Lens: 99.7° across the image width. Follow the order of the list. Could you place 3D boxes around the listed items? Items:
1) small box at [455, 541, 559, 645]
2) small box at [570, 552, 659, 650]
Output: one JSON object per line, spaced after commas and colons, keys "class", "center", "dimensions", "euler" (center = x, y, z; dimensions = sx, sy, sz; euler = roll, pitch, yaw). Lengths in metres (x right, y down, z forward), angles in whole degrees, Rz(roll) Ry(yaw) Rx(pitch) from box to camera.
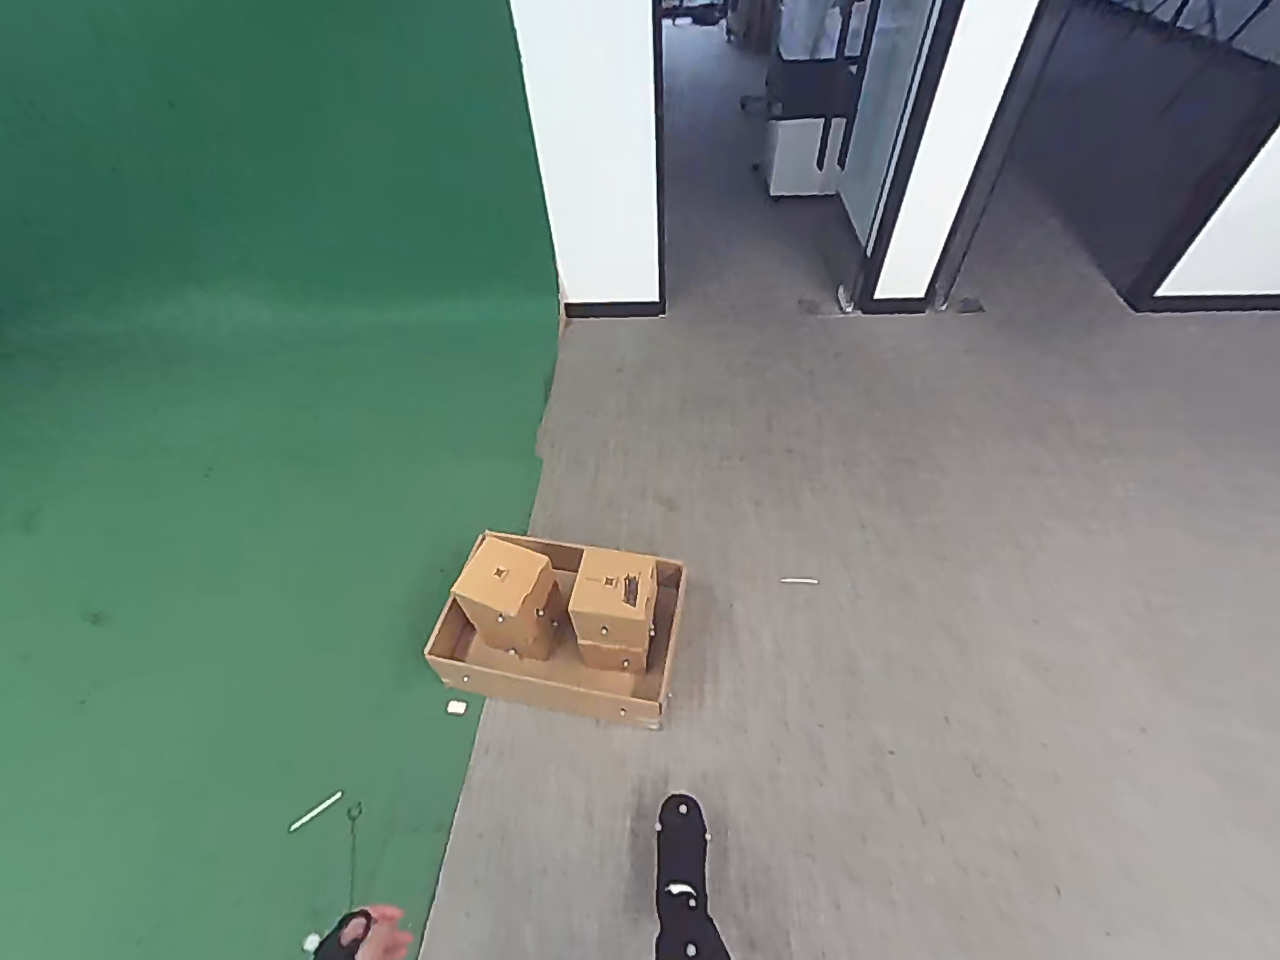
{"class": "small box", "center": [-0.320, 0.284, 1.341], "dimensions": [0.179, 0.176, 0.168], "euler": [17, 53, 15]}
{"class": "small box", "center": [-0.051, 0.297, 1.307], "dimensions": [0.179, 0.176, 0.168], "euler": [5, 51, 10]}
